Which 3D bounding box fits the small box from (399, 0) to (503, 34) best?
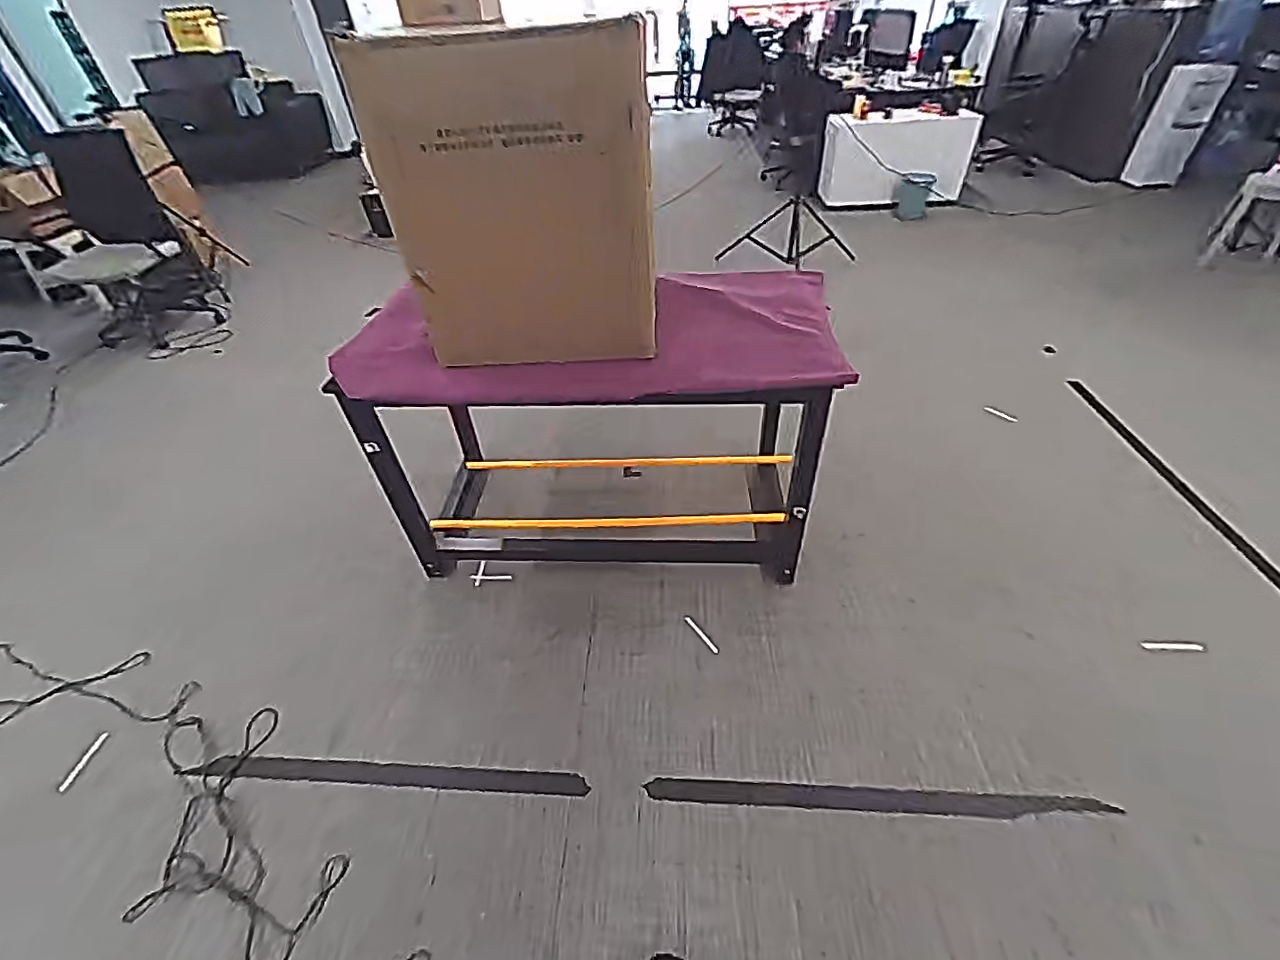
[{"bbox_3d":[-0.382,-0.997,1.070,0.168,0.176,0.179,1,42,4],"label":"small box"}]
